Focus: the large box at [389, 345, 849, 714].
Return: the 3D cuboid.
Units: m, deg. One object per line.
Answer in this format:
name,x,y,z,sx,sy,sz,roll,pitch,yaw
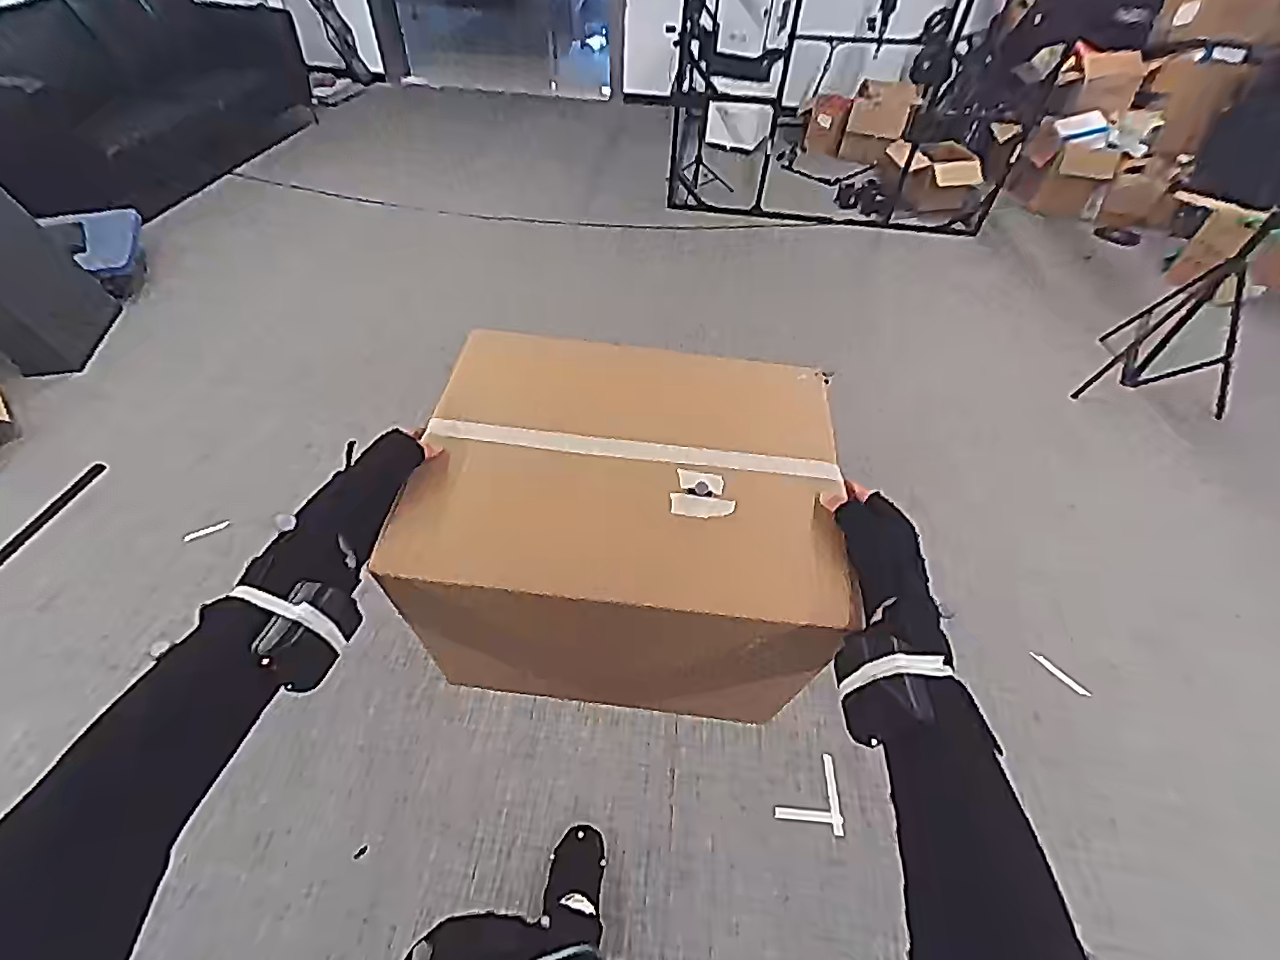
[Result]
large box,-0.018,0.071,0.664,0.408,0.320,0.320,7,53,0
